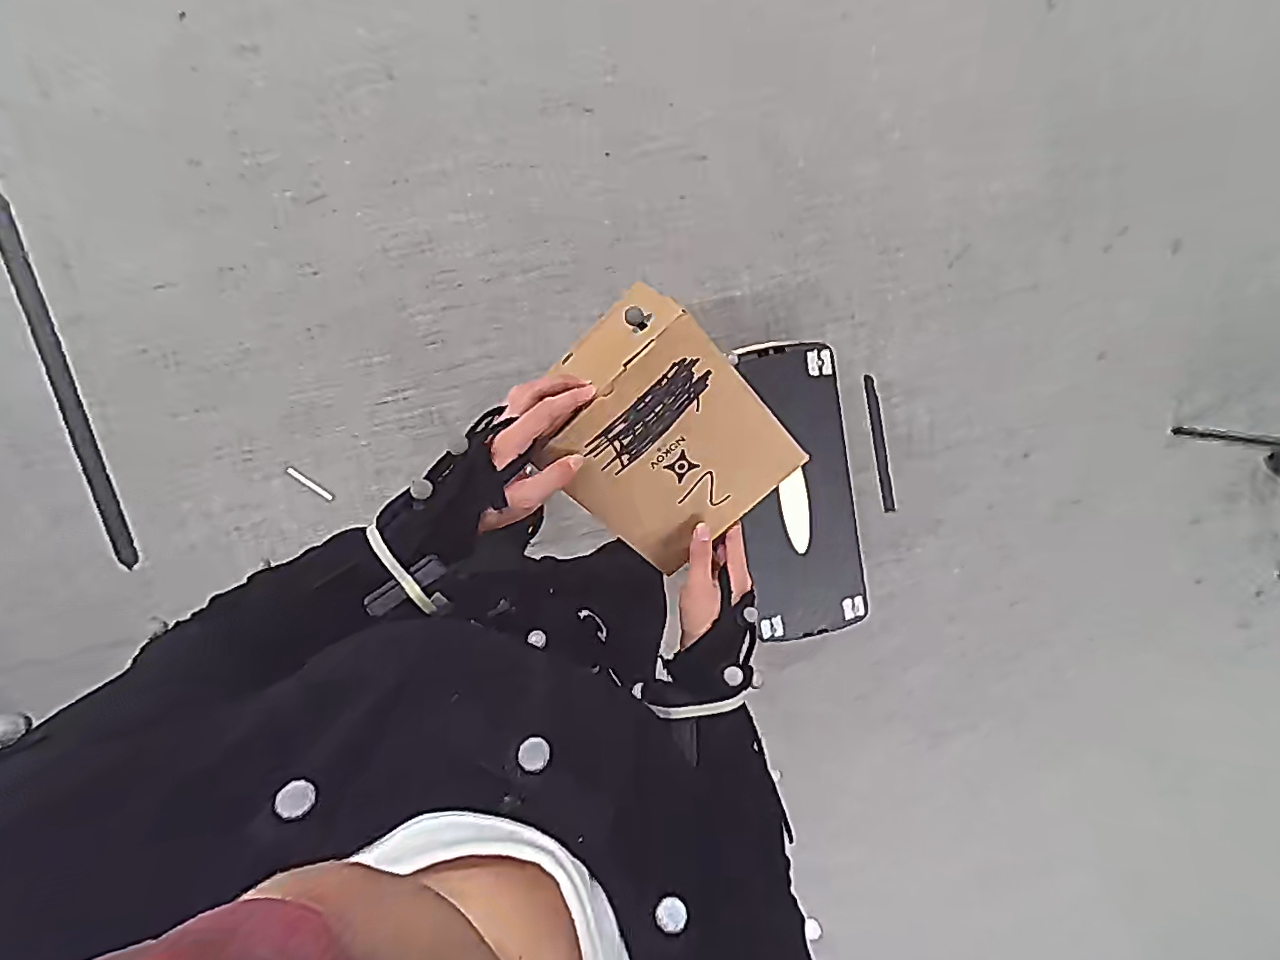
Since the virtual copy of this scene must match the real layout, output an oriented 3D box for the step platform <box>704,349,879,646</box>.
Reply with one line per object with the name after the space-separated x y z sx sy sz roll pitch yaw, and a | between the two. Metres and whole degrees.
0.357 0.043 1.281 0.286 0.204 0.684 -12 99 -4 | step platform
